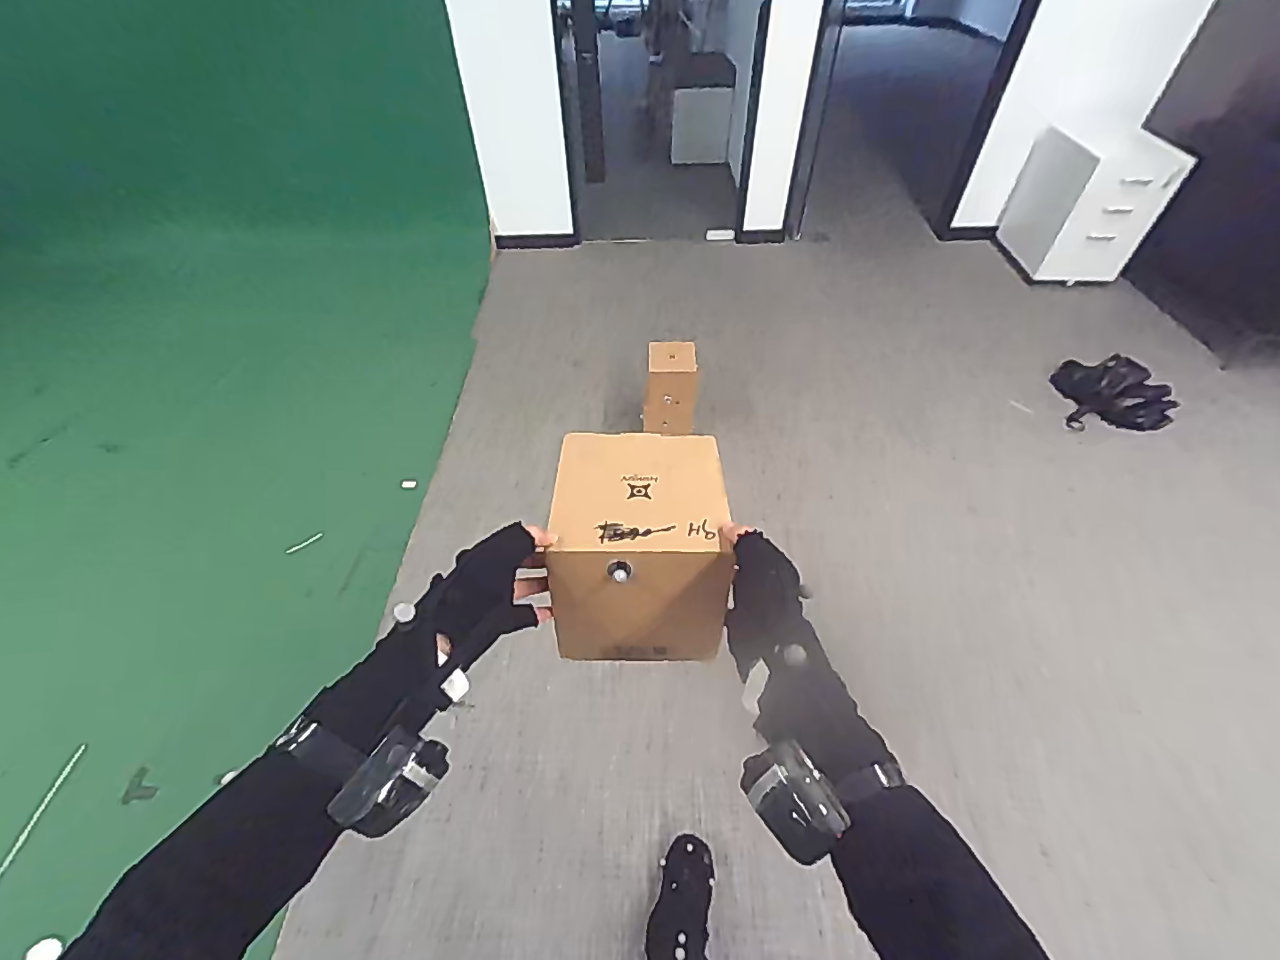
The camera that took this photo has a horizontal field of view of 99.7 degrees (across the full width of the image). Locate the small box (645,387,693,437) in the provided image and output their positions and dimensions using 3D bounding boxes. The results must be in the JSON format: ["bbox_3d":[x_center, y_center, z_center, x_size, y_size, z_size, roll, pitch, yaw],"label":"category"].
[{"bbox_3d":[0.110,-0.240,2.075,0.179,0.176,0.168,0,47,3],"label":"small box"}]

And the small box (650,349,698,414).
[{"bbox_3d":[0.121,-0.355,1.963,0.168,0.176,0.179,-1,48,2],"label":"small box"}]

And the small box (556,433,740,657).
[{"bbox_3d":[0.006,0.066,0.586,0.168,0.176,0.179,0,38,0],"label":"small box"}]
